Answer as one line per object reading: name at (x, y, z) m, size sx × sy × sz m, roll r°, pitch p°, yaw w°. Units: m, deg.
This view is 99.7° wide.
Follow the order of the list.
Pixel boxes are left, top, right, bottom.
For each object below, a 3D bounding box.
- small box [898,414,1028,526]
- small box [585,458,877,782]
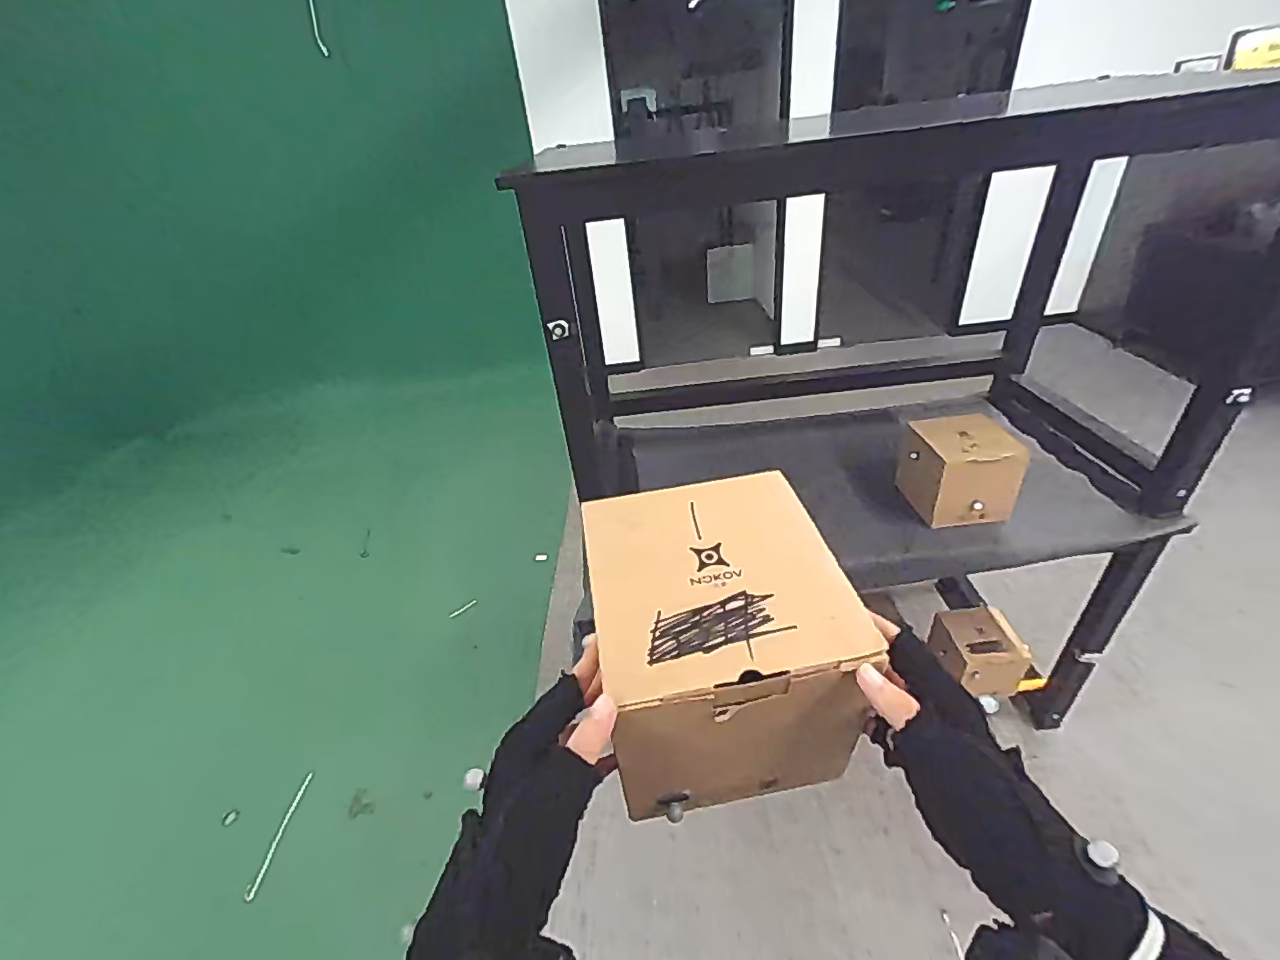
small box at (0.677, -0.023, 1.162) m, size 0.168 × 0.176 × 0.179 m, roll -7°, pitch 33°, yaw 2°
small box at (0.054, 0.109, 0.422) m, size 0.168 × 0.176 × 0.179 m, roll -9°, pitch 38°, yaw -5°
